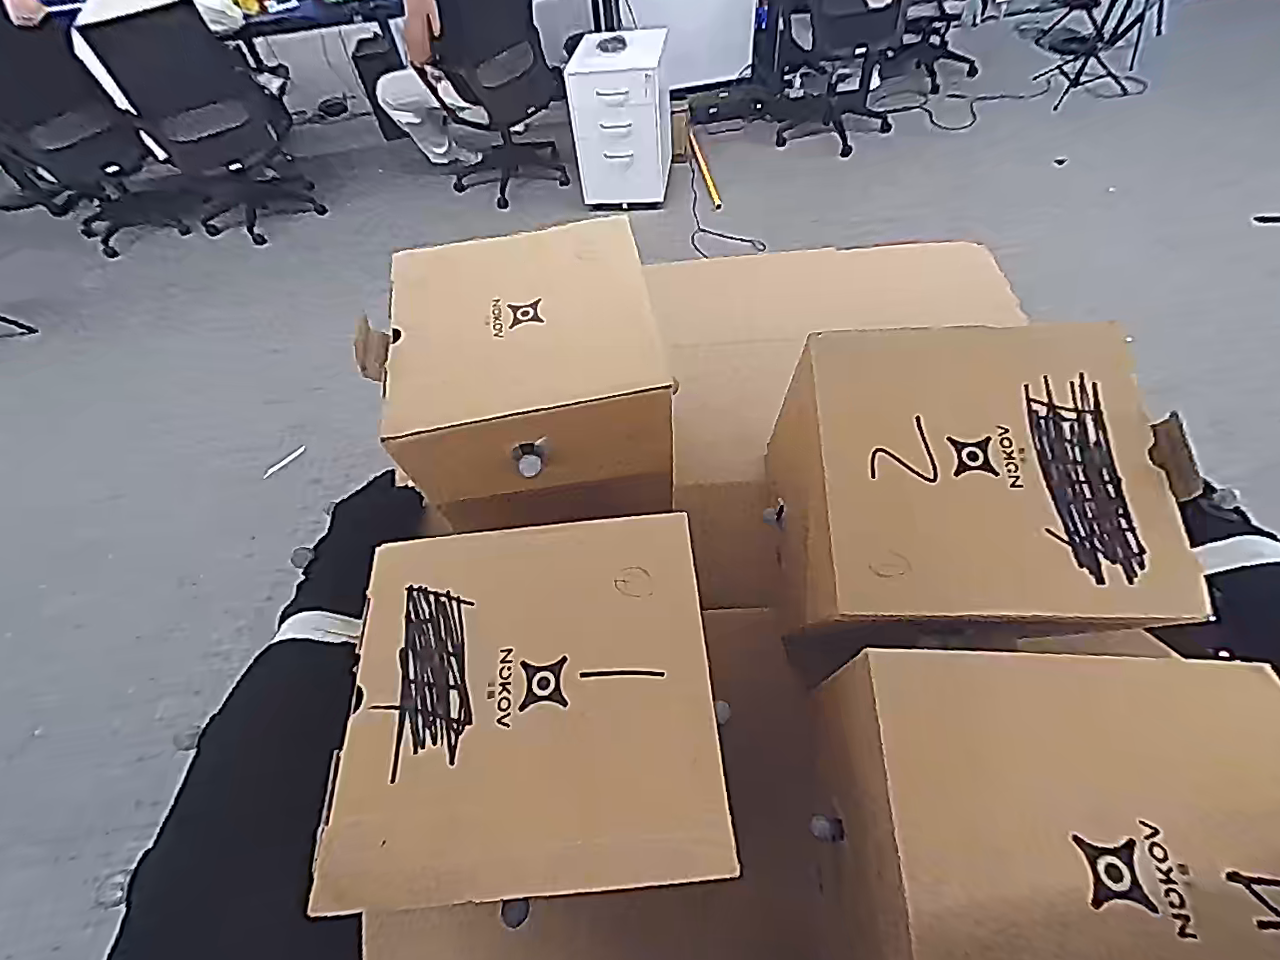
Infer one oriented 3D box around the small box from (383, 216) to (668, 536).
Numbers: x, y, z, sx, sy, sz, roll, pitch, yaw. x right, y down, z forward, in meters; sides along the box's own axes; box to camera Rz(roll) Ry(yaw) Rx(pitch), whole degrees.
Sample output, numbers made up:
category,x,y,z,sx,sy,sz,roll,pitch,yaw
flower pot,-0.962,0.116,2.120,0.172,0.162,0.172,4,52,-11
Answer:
category,x,y,z,sx,sy,sz,roll,pitch,yaw
small box,-0.077,-0.072,0.433,0.179,0.176,0.168,-12,60,-1
